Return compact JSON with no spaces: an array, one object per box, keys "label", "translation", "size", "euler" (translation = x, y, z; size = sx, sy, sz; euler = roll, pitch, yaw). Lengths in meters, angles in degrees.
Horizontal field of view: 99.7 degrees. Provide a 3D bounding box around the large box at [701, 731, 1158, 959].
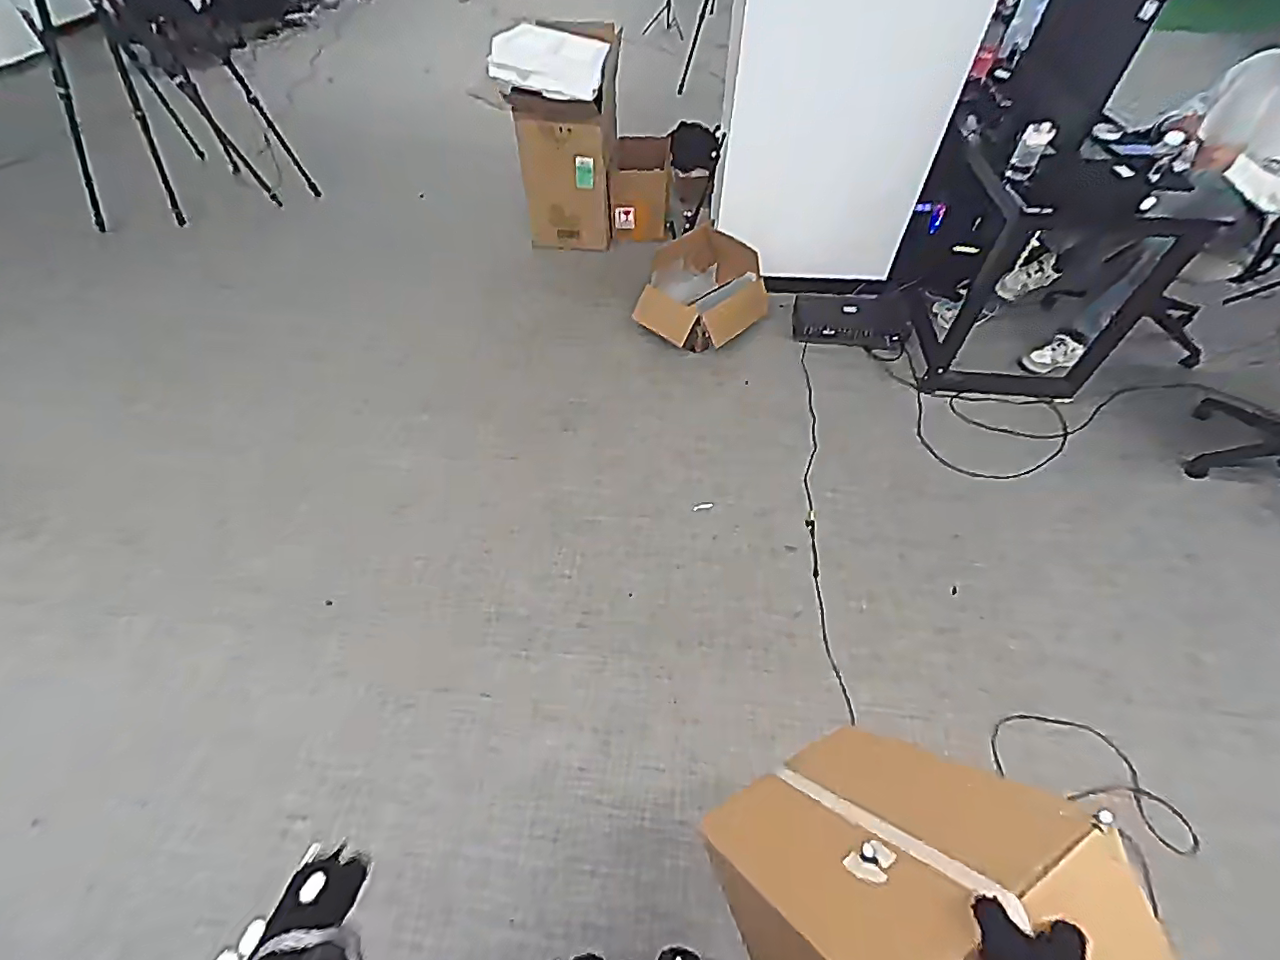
[{"label":"large box","translation":[0.337,0.581,0.679],"size":[0.320,0.408,0.320],"euler":[-21,87,-20]}]
